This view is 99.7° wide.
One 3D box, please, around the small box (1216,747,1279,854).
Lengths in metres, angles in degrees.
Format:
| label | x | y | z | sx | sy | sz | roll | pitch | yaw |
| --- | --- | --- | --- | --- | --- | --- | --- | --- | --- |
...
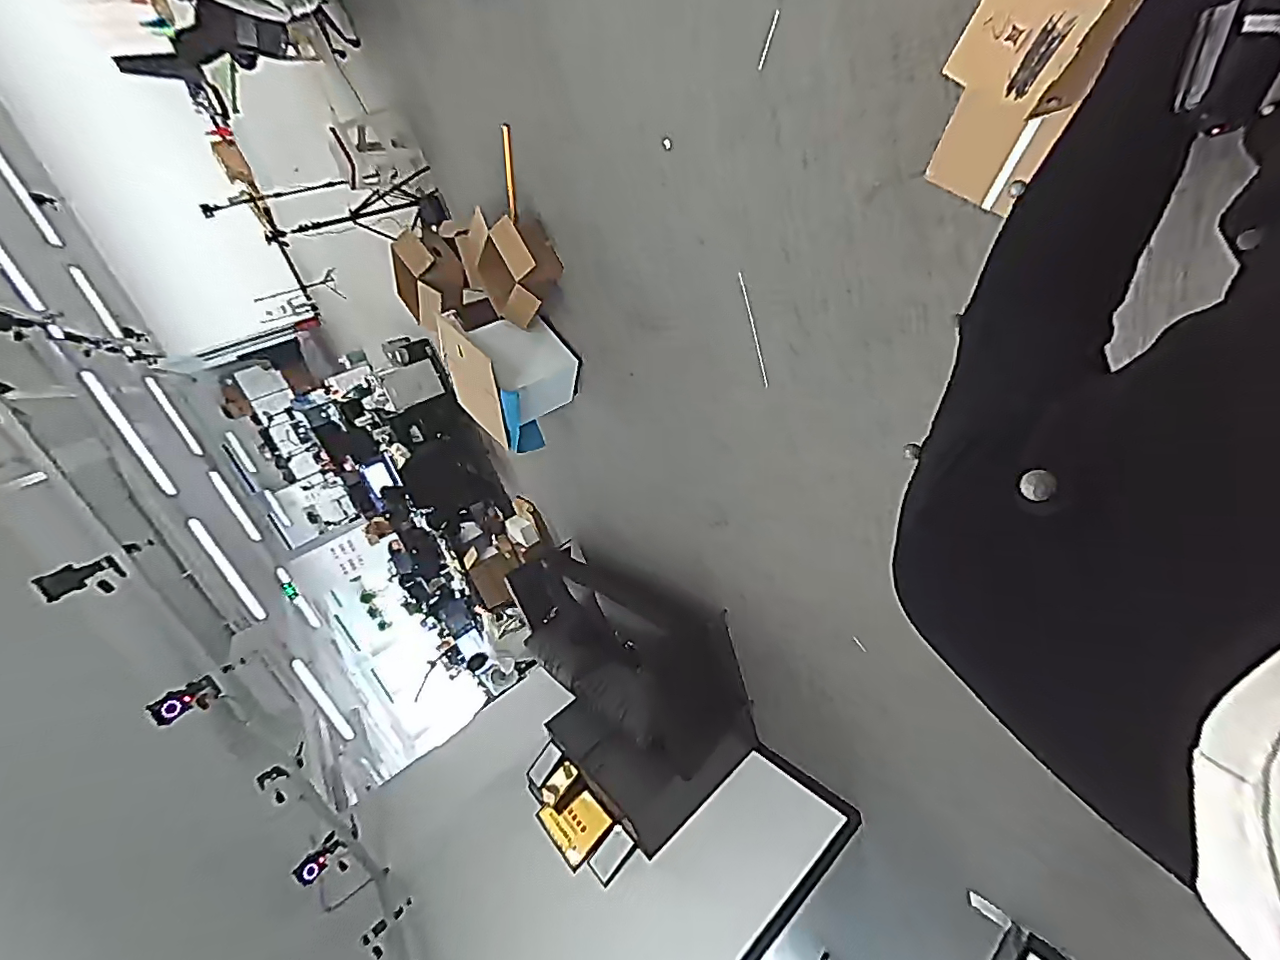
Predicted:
| label | x | y | z | sx | sy | sz | roll | pitch | yaw |
| --- | --- | --- | --- | --- | --- | --- | --- | --- | --- |
| small box | 1.625 | 0.824 | 1.385 | 0.179 | 0.176 | 0.168 | 9 | 124 | 55 |
